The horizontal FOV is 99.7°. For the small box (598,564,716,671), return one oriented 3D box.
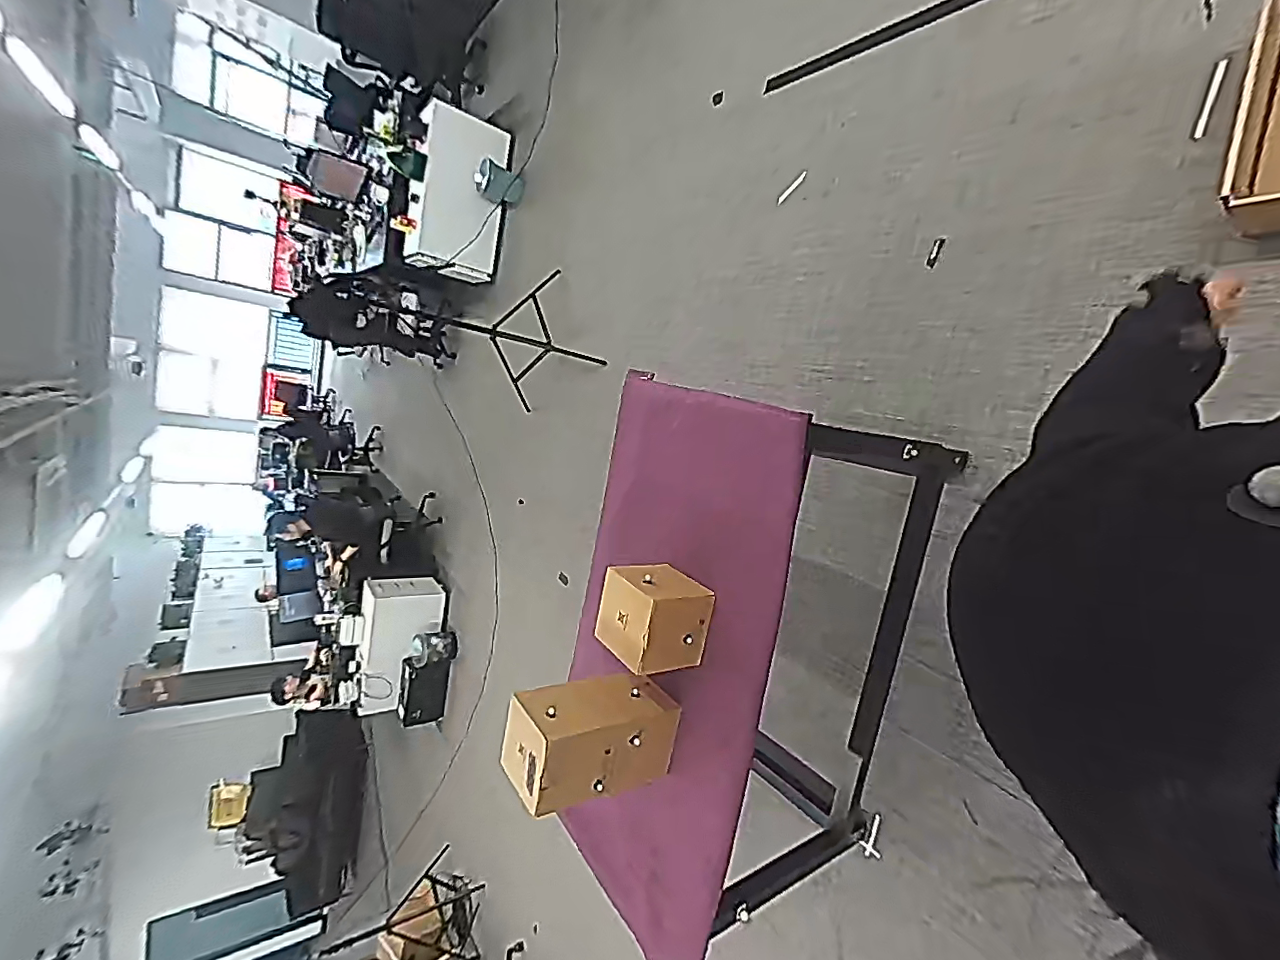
[{"bbox_3d":[0.034,0.289,1.170,0.179,0.176,0.168,24,106,52],"label":"small box"}]

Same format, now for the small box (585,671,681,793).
[{"bbox_3d":[-0.027,0.558,1.226,0.168,0.176,0.179,24,106,52],"label":"small box"}]

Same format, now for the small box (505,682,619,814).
[{"bbox_3d":[-0.163,0.547,1.134,0.179,0.176,0.168,21,103,53],"label":"small box"}]
